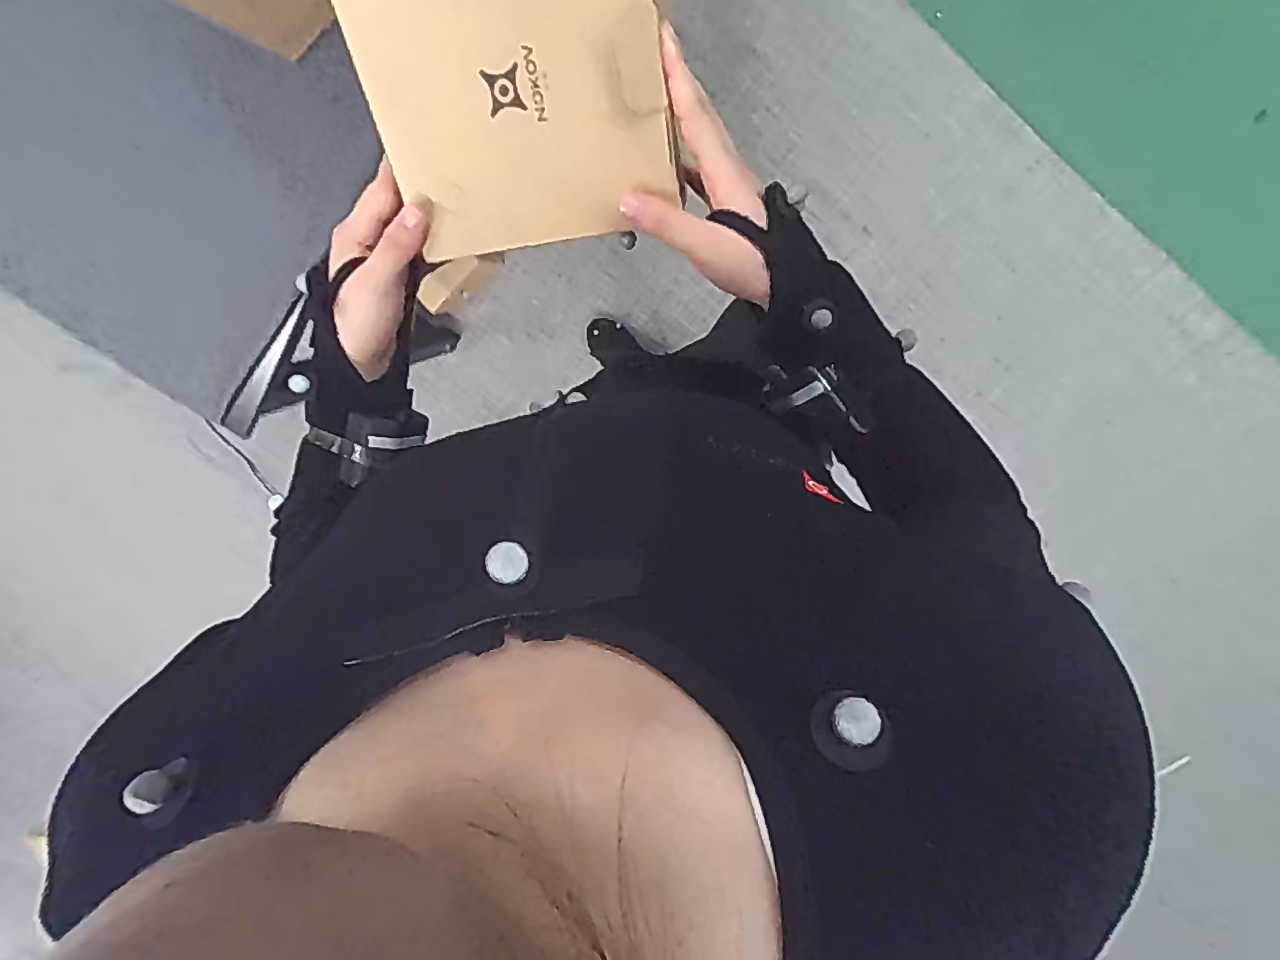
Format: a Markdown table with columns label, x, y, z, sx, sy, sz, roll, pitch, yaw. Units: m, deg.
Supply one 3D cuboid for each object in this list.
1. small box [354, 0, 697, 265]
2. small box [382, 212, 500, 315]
| label | x | y | z | sx | sy | sz | roll | pitch | yaw |
| --- | --- | --- | --- | --- | --- | --- | --- | --- | --- |
| small box | -0.054 | -0.260 | 0.377 | 0.179 | 0.176 | 0.168 | -5 | 122 | 9 |
| small box | -0.472 | -0.524 | 1.307 | 0.179 | 0.176 | 0.168 | -38 | 103 | 20 |
